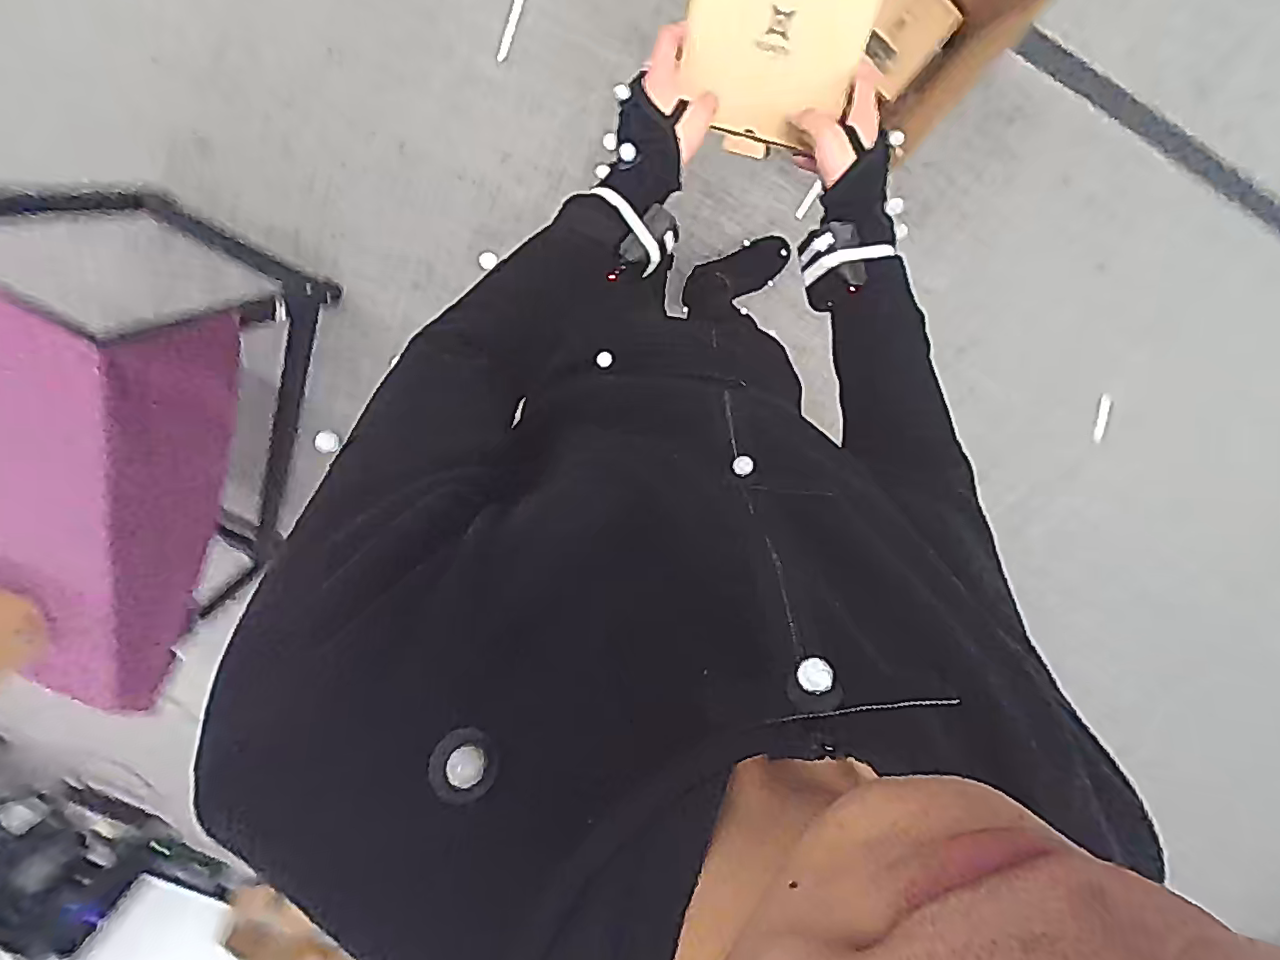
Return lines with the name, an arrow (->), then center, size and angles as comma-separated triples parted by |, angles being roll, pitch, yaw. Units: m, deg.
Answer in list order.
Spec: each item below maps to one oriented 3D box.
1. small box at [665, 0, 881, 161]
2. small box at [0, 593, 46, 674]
small box -> 0.124, -0.448, 0.550 | 0.168, 0.176, 0.179 | 10, 124, -7
small box -> -1.604, 0.376, 1.292 | 0.179, 0.176, 0.168 | 20, 120, -2
